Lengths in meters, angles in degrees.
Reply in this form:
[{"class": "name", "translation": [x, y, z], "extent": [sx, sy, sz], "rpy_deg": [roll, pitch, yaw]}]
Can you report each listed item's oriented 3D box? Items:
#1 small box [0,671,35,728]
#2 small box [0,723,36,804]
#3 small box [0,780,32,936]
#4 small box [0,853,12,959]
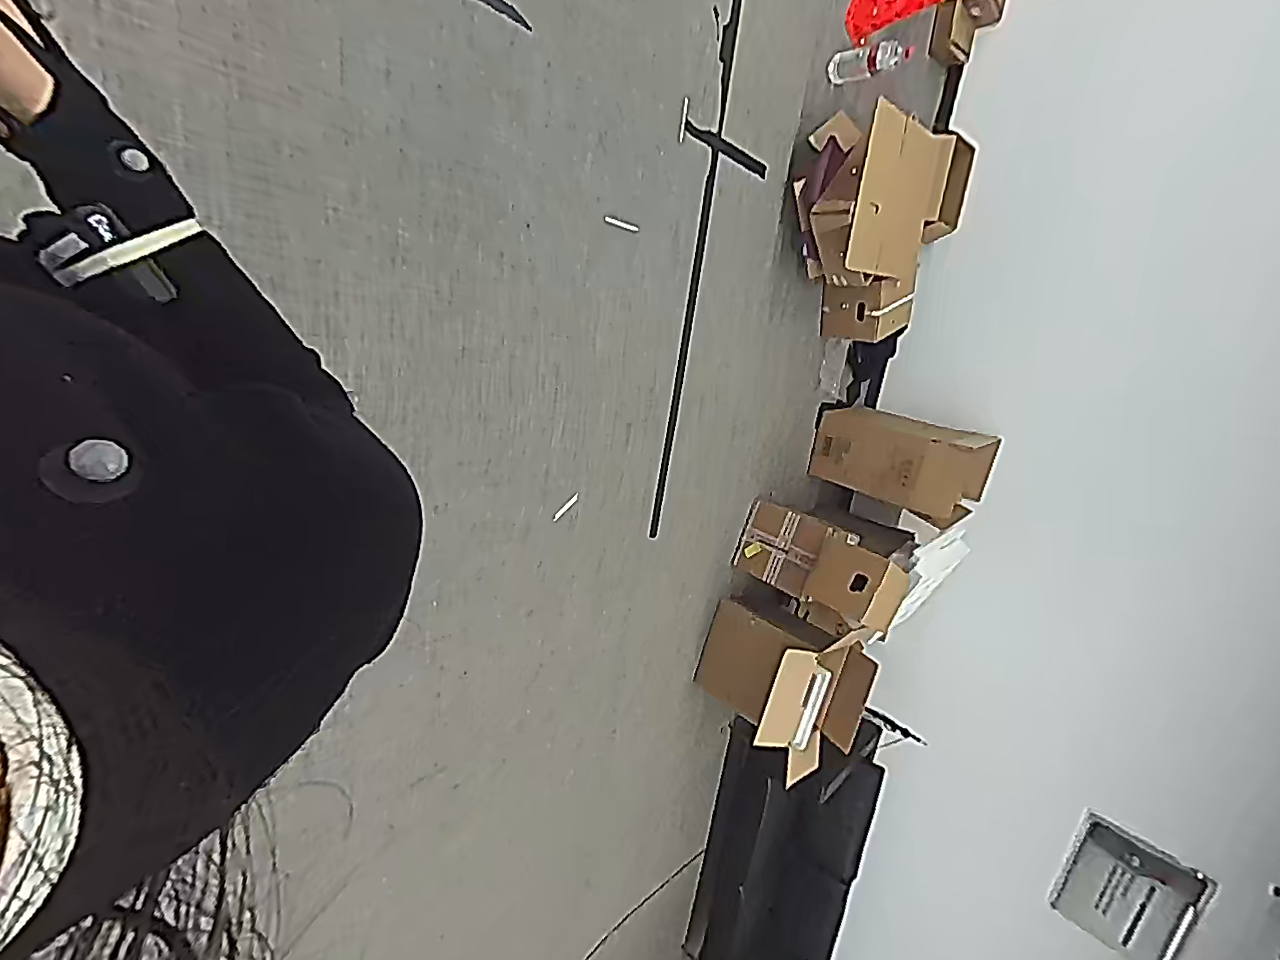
[{"class": "small box", "translation": [-1.287, 0.492, 1.027], "extent": [0.179, 0.176, 0.168], "rpy_deg": [2, 105, -48]}, {"class": "small box", "translation": [-1.172, 0.546, 0.923], "extent": [0.179, 0.176, 0.168], "rpy_deg": [7, 101, -49]}, {"class": "small box", "translation": [-1.059, 0.599, 0.820], "extent": [0.179, 0.176, 0.168], "rpy_deg": [3, 104, -47]}, {"class": "small box", "translation": [-0.950, 0.642, 0.703], "extent": [0.168, 0.176, 0.179], "rpy_deg": [2, 103, -49]}]
